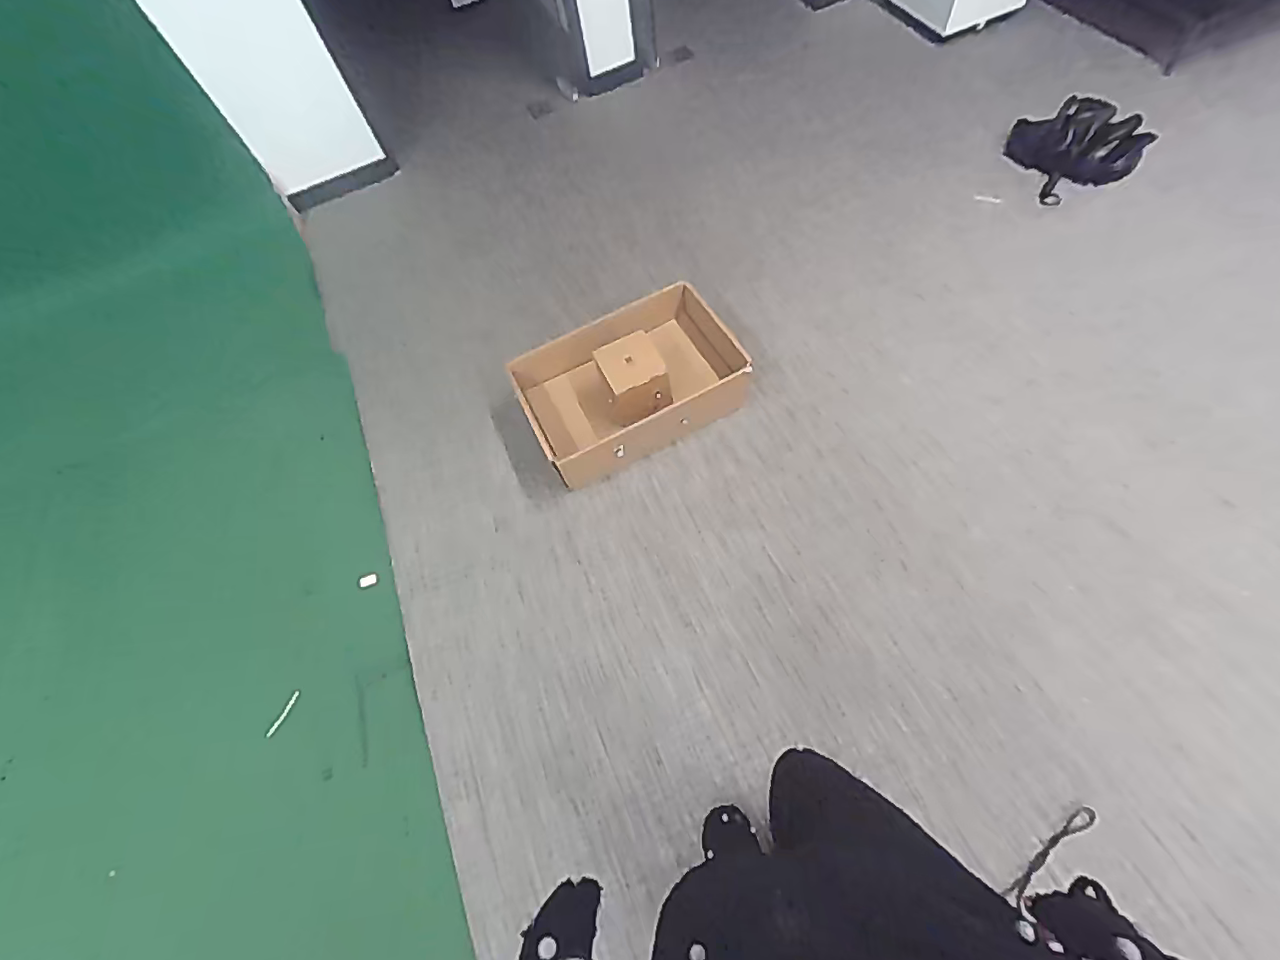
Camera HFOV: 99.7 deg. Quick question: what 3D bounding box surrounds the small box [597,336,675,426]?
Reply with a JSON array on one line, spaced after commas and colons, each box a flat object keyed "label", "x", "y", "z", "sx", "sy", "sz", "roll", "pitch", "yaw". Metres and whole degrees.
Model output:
[{"label": "small box", "x": -0.006, "y": -0.280, "z": 1.581, "sx": 0.168, "sy": 0.176, "sz": 0.179, "roll": -25, "pitch": 60, "yaw": -6}]
